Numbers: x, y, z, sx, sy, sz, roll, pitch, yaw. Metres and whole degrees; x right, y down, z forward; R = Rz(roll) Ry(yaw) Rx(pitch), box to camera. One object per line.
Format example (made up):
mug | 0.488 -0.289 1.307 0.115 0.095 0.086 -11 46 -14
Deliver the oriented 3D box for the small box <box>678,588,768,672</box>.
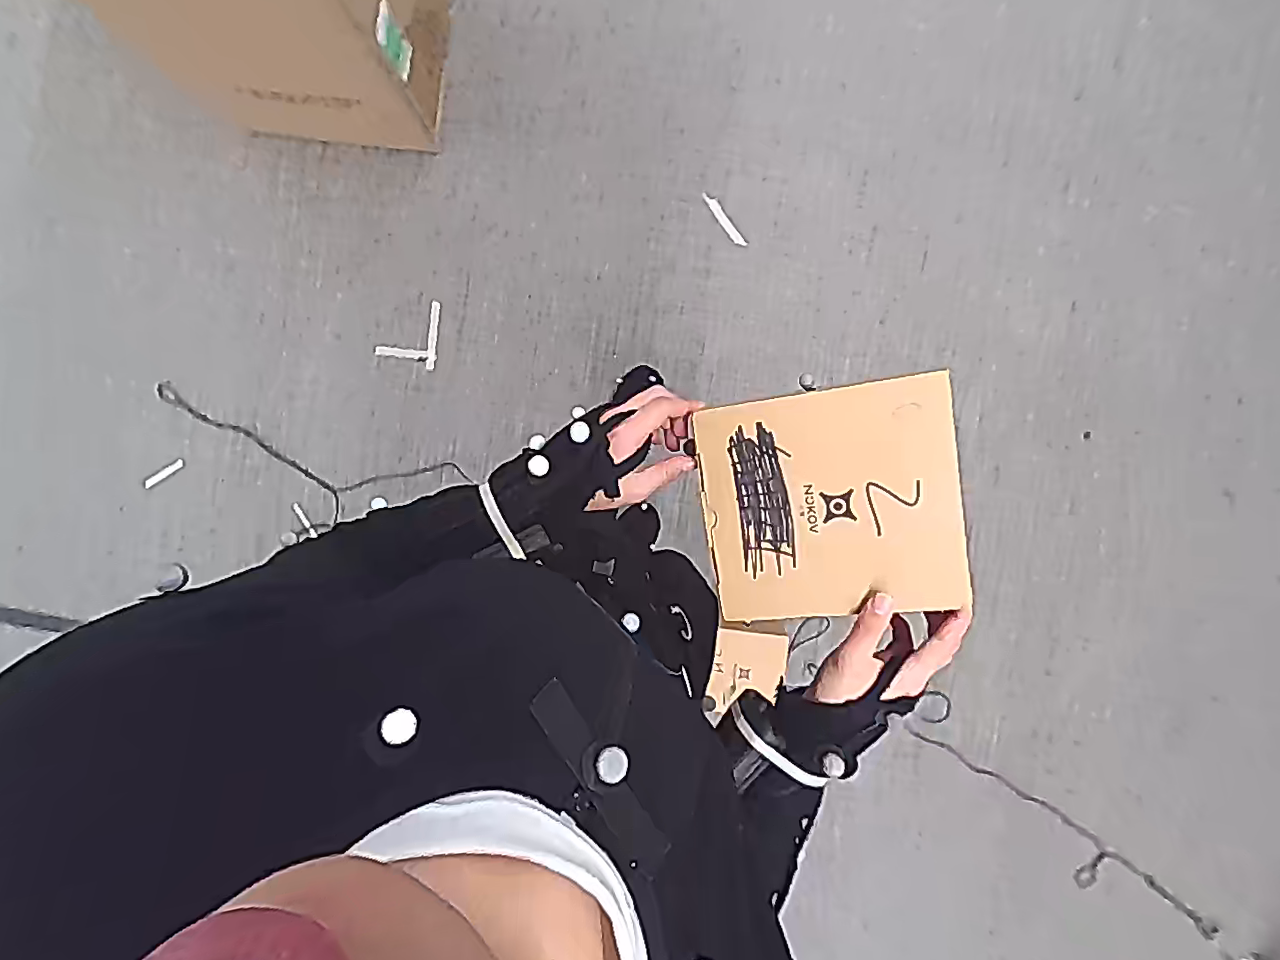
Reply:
small box | 0.191 0.365 1.290 0.179 0.176 0.168 9 92 2

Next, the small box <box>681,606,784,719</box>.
small box | 0.185 0.370 1.125 0.179 0.176 0.168 7 91 2
